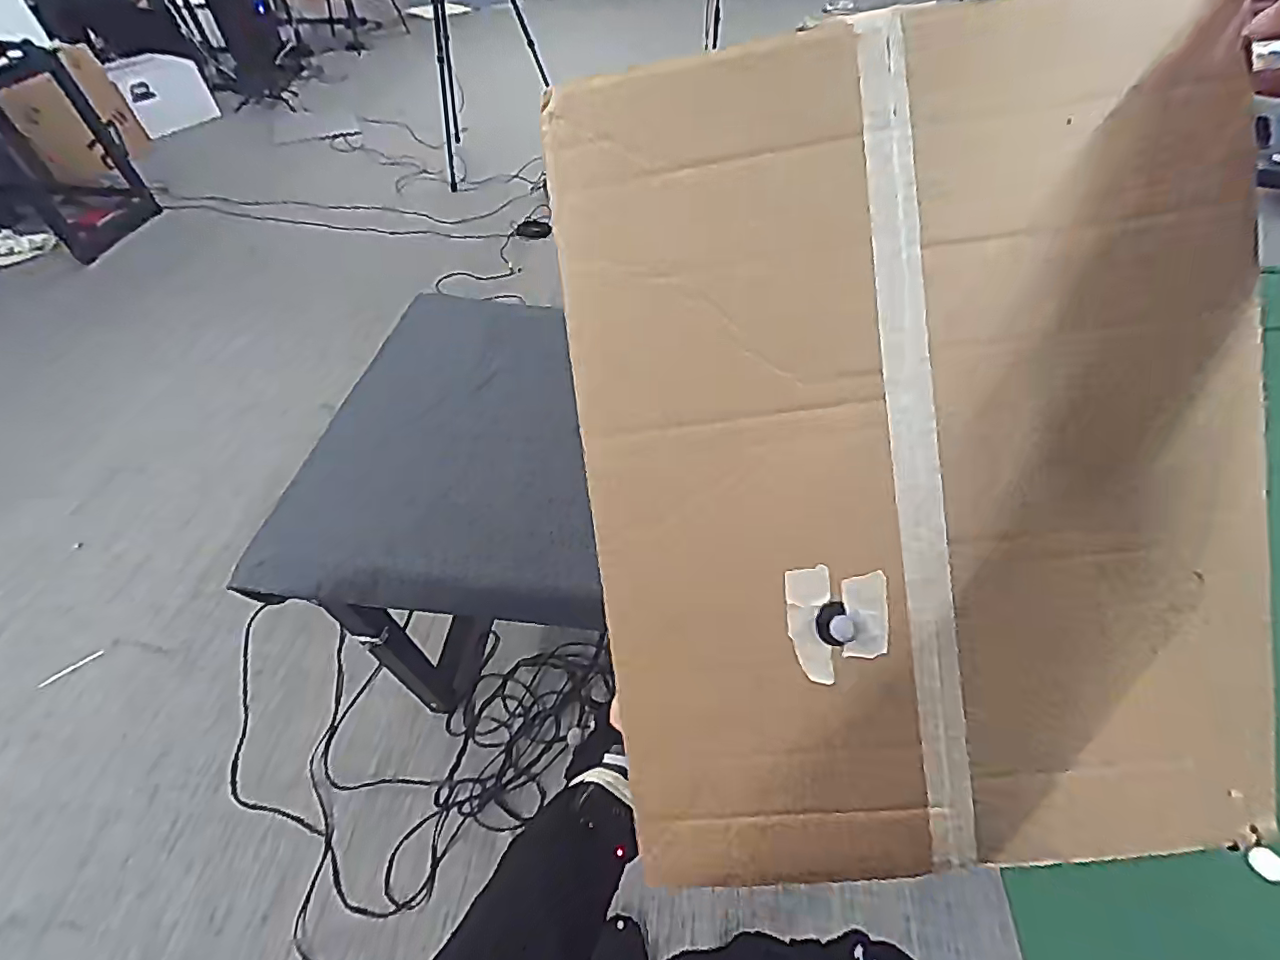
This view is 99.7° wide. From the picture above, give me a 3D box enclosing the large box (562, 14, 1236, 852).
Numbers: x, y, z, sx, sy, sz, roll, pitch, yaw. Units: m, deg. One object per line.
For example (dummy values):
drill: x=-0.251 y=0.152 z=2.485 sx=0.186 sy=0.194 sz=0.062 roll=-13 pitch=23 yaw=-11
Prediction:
large box: x=0.146 y=-0.021 z=0.427 sx=0.320 sy=0.408 sz=0.320 roll=-8 pitch=6 yaw=4
